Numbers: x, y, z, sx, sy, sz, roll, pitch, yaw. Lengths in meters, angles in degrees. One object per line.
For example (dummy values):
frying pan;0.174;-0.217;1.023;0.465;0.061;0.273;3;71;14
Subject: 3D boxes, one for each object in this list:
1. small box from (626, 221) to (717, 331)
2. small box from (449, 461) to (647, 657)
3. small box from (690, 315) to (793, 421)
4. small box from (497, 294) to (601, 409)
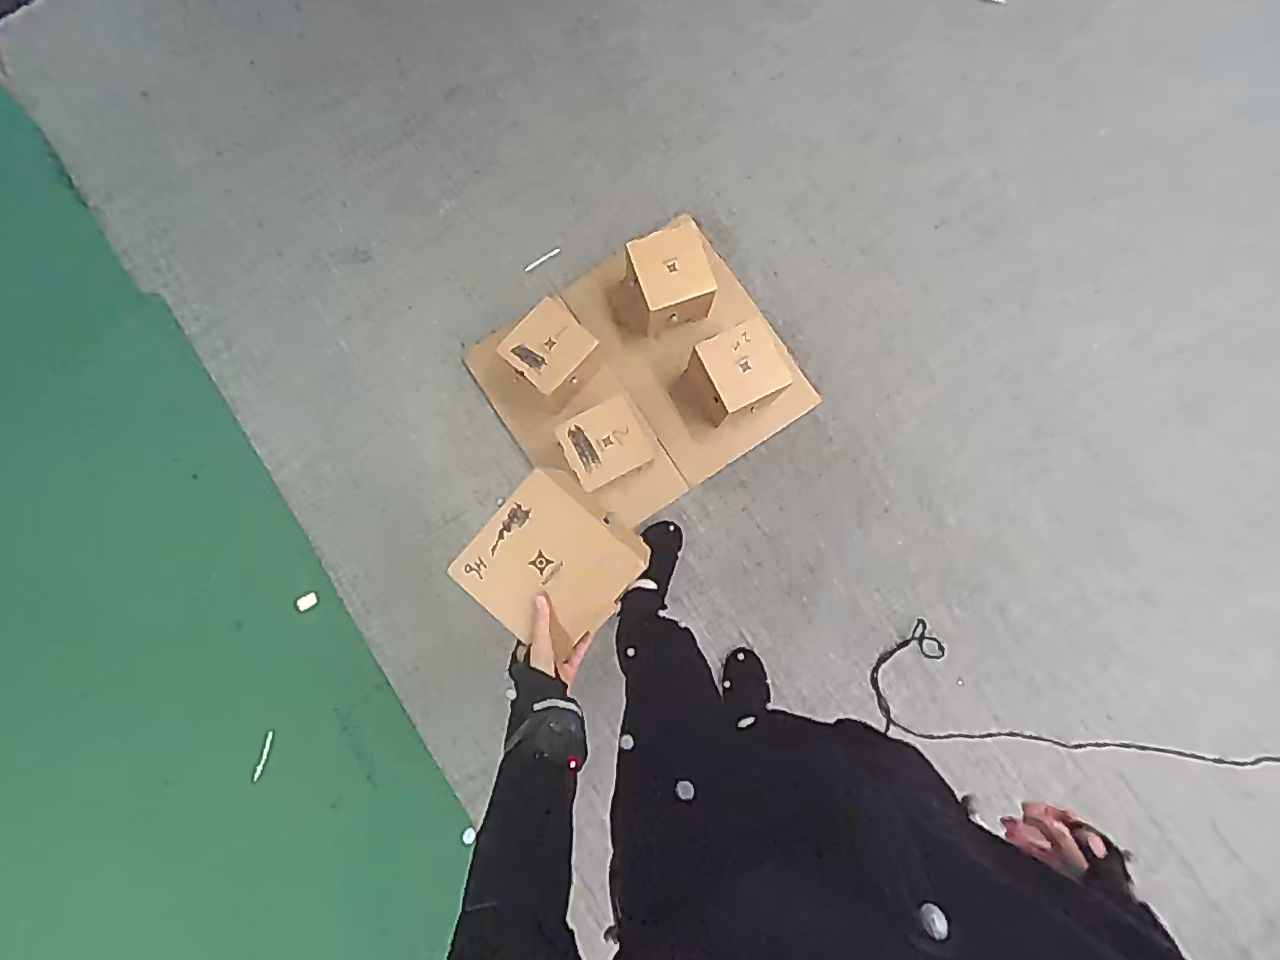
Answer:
small box;0.074;-0.478;1.303;0.168;0.176;0.179;-19;84;-2
small box;-0.105;0.092;0.709;0.179;0.176;0.168;43;90;2
small box;0.231;-0.252;1.277;0.168;0.176;0.179;-26;84;-3
small box;-0.205;-0.295;1.286;0.168;0.176;0.179;42;85;4
